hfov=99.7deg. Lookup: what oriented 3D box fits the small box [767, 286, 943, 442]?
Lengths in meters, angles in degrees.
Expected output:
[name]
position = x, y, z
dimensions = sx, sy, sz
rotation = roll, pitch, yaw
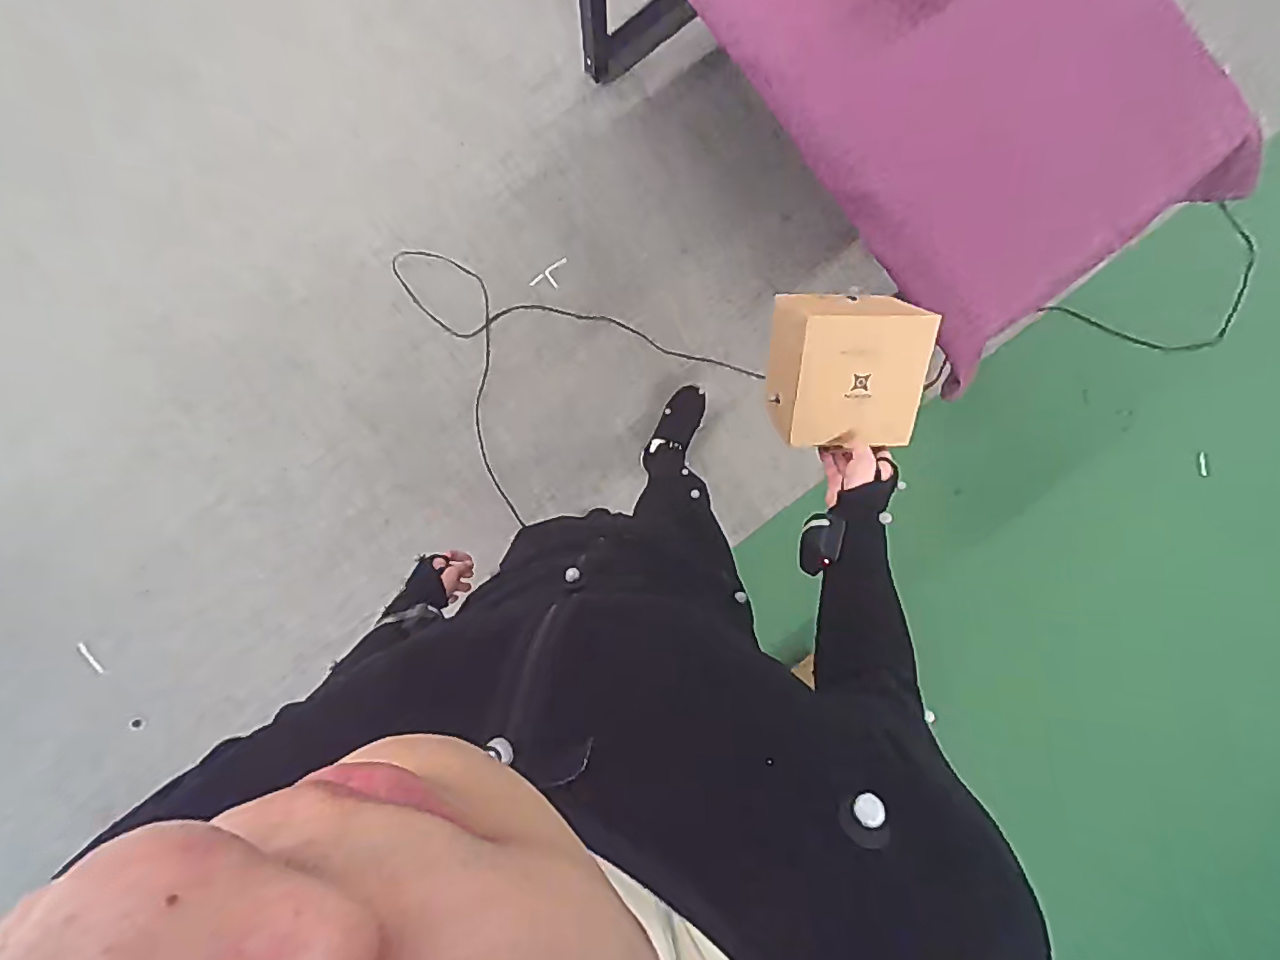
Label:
[small box]
position = 0.279, -0.166, 0.752
dimensions = 0.168, 0.176, 0.179
rotation = 0, 117, -1
